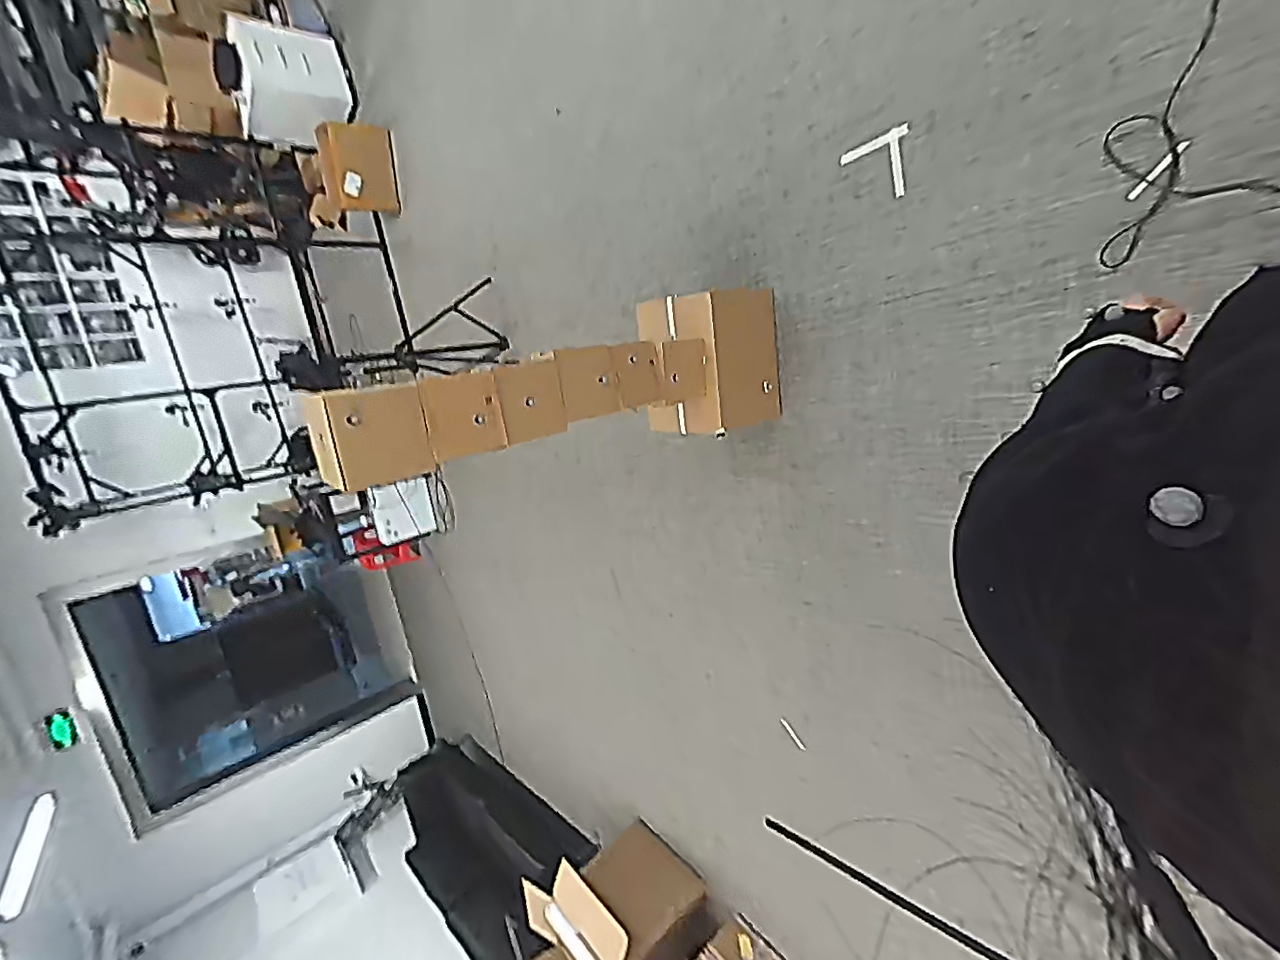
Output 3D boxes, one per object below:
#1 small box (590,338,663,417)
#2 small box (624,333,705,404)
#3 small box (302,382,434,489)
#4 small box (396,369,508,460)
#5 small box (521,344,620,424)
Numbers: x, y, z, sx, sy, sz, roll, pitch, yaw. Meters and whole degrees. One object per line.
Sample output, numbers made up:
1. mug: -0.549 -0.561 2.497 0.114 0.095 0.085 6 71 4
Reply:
1. small box: -0.054 -0.279 1.472 0.179 0.176 0.168 -9 97 51
2. small box: 0.073 -0.325 1.562 0.168 0.176 0.179 13 114 46
3. small box: -0.526 -0.096 1.056 0.168 0.176 0.179 11 113 46
4. small box: -0.409 -0.142 1.162 0.179 0.176 0.168 4 108 48
5. small box: -0.173 -0.244 1.365 0.168 0.176 0.179 0 104 49
